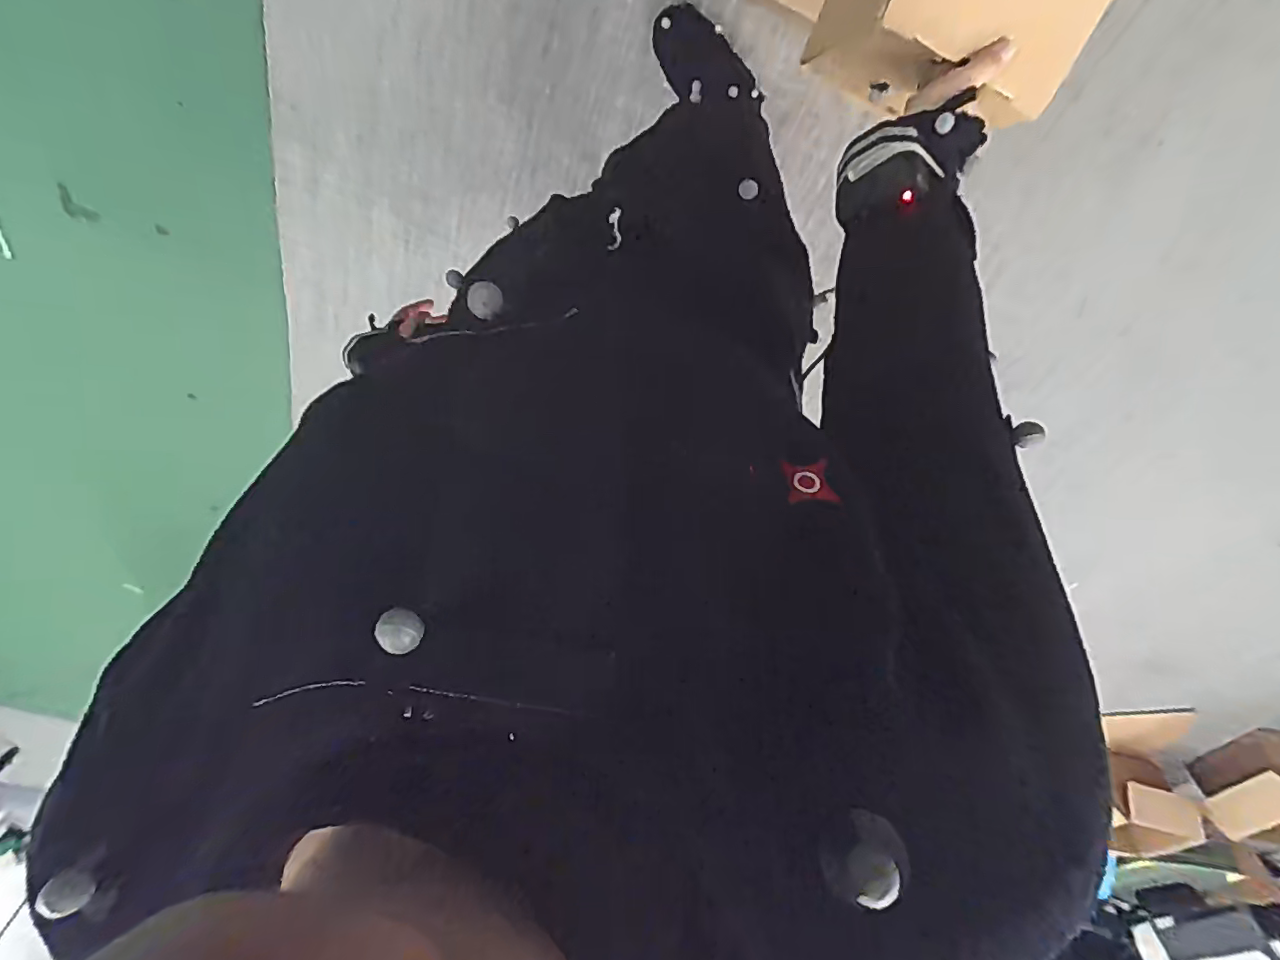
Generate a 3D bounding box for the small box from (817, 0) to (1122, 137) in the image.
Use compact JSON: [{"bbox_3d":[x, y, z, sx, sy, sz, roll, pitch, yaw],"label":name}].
[{"bbox_3d":[0.283,-0.427,0.462,0.168,0.176,0.179,18,115,-16],"label":"small box"}]
